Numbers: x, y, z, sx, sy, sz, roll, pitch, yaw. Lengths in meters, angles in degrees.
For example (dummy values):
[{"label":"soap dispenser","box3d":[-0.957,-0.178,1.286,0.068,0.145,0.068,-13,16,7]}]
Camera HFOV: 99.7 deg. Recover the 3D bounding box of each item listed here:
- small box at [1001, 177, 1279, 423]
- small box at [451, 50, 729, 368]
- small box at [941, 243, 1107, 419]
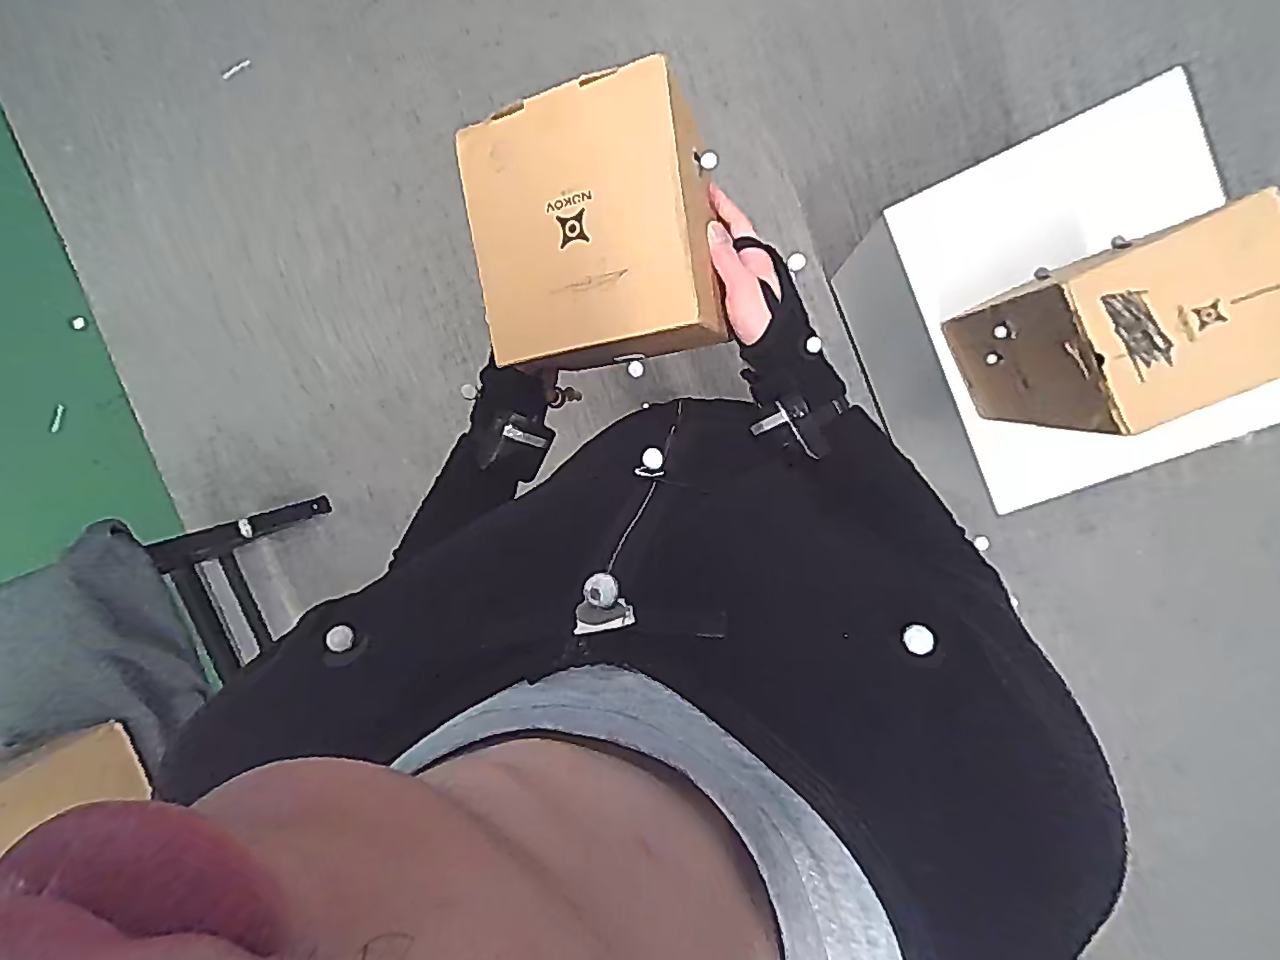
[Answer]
[{"label":"small box","box3d":[0.523,-0.171,0.574,0.179,0.176,0.168,-25,94,12]},{"label":"small box","box3d":[-0.027,-0.198,0.458,0.168,0.176,0.179,-8,97,19]},{"label":"small box","box3d":[0.552,-0.197,0.734,0.179,0.176,0.168,-26,93,12]}]
